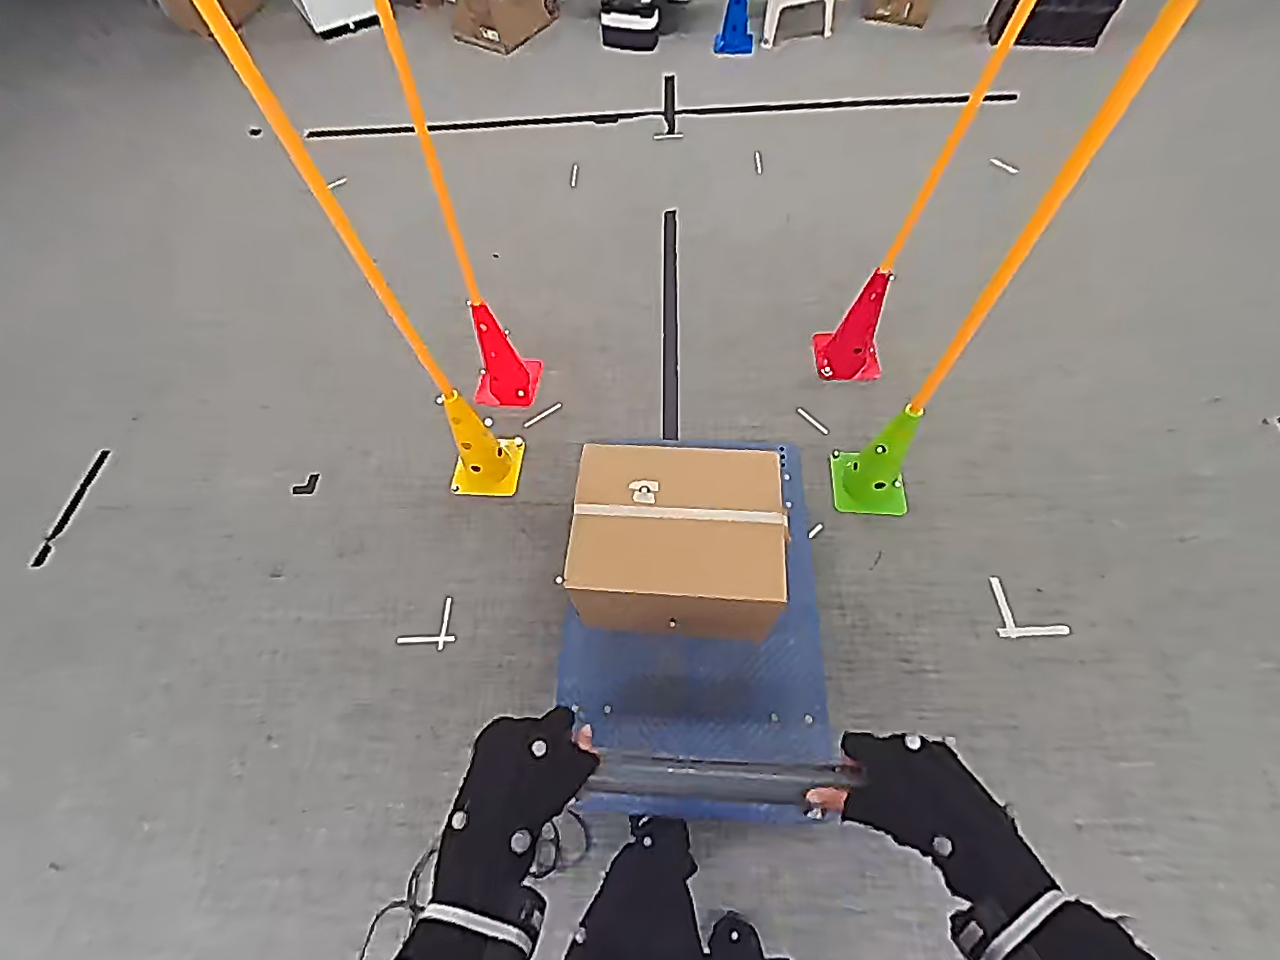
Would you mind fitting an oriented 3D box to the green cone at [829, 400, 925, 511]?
[{"bbox_3d":[0.654,-0.084,1.429,0.202,0.368,0.200,3,62,4],"label":"green cone"}]

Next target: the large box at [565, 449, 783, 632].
[{"bbox_3d":[0.079,0.142,1.178,0.408,0.320,0.320,2,61,6],"label":"large box"}]

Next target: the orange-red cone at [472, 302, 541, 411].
[{"bbox_3d":[-0.453,-0.406,1.679,0.198,0.360,0.199,6,61,6],"label":"orange-red cone"}]

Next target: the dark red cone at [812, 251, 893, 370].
[{"bbox_3d":[0.675,-0.519,1.645,0.201,0.394,0.202,0,62,1],"label":"dark red cone"}]
